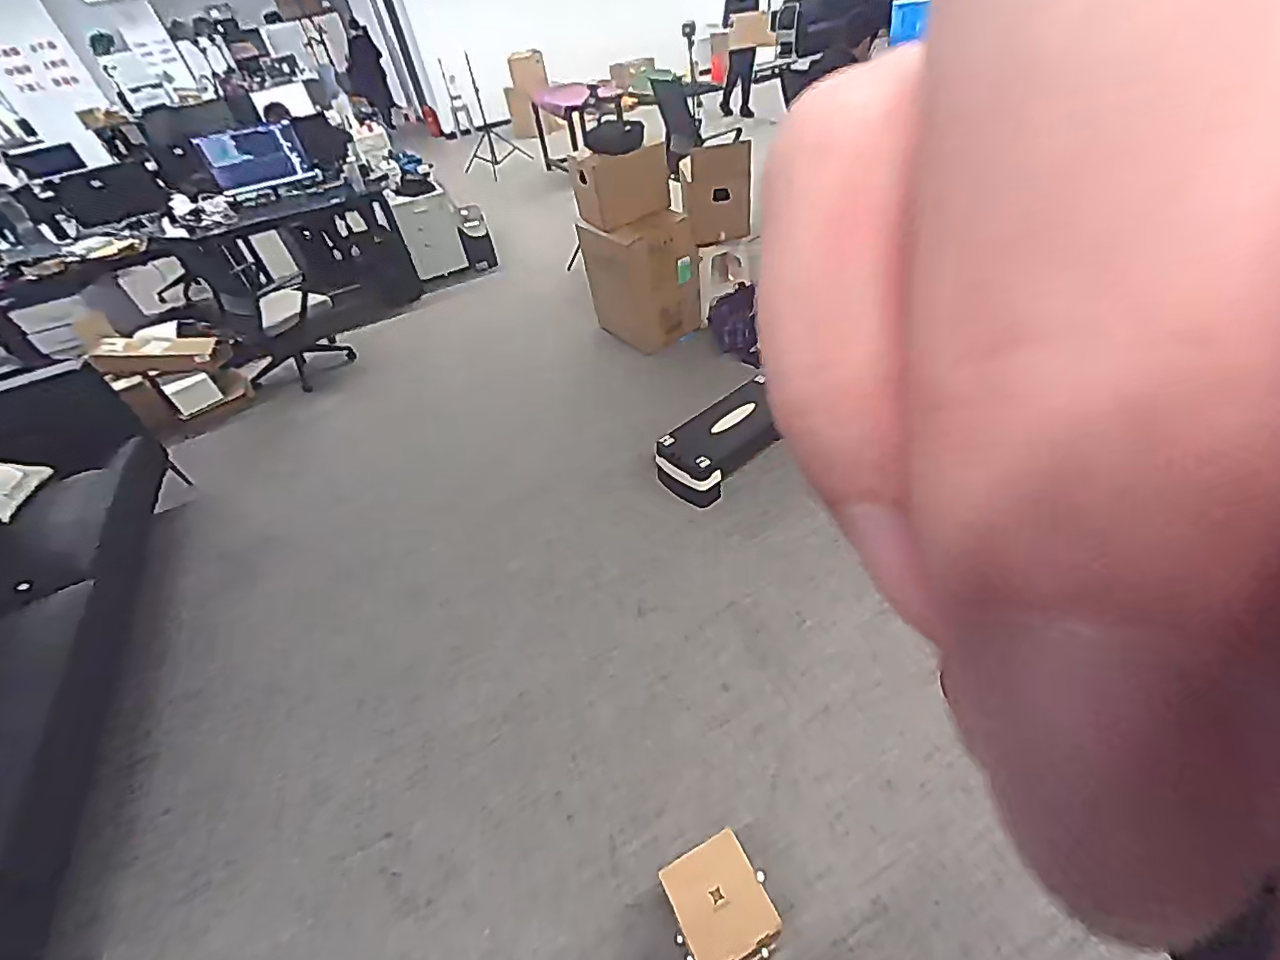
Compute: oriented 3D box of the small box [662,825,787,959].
[{"bbox_3d":[0.163,0.816,1.041,0.168,0.176,0.179,-25,44,-15],"label":"small box"}]
